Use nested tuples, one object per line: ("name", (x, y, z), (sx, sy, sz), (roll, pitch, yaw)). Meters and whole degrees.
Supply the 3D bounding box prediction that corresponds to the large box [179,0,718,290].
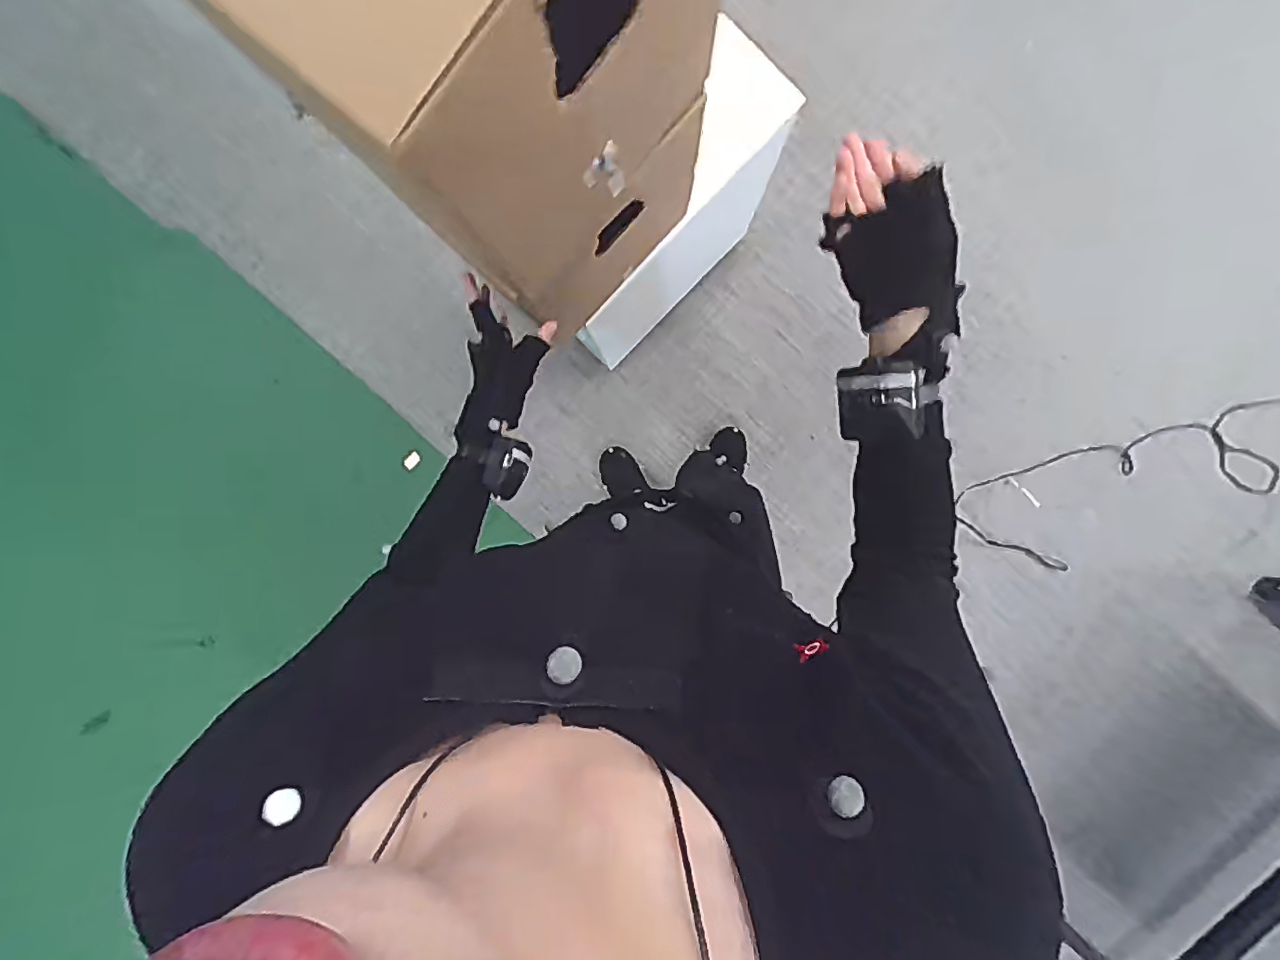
("large box", (-0.179, -0.427, 0.425), (0.408, 0.320, 0.320), (40, 94, 0))
